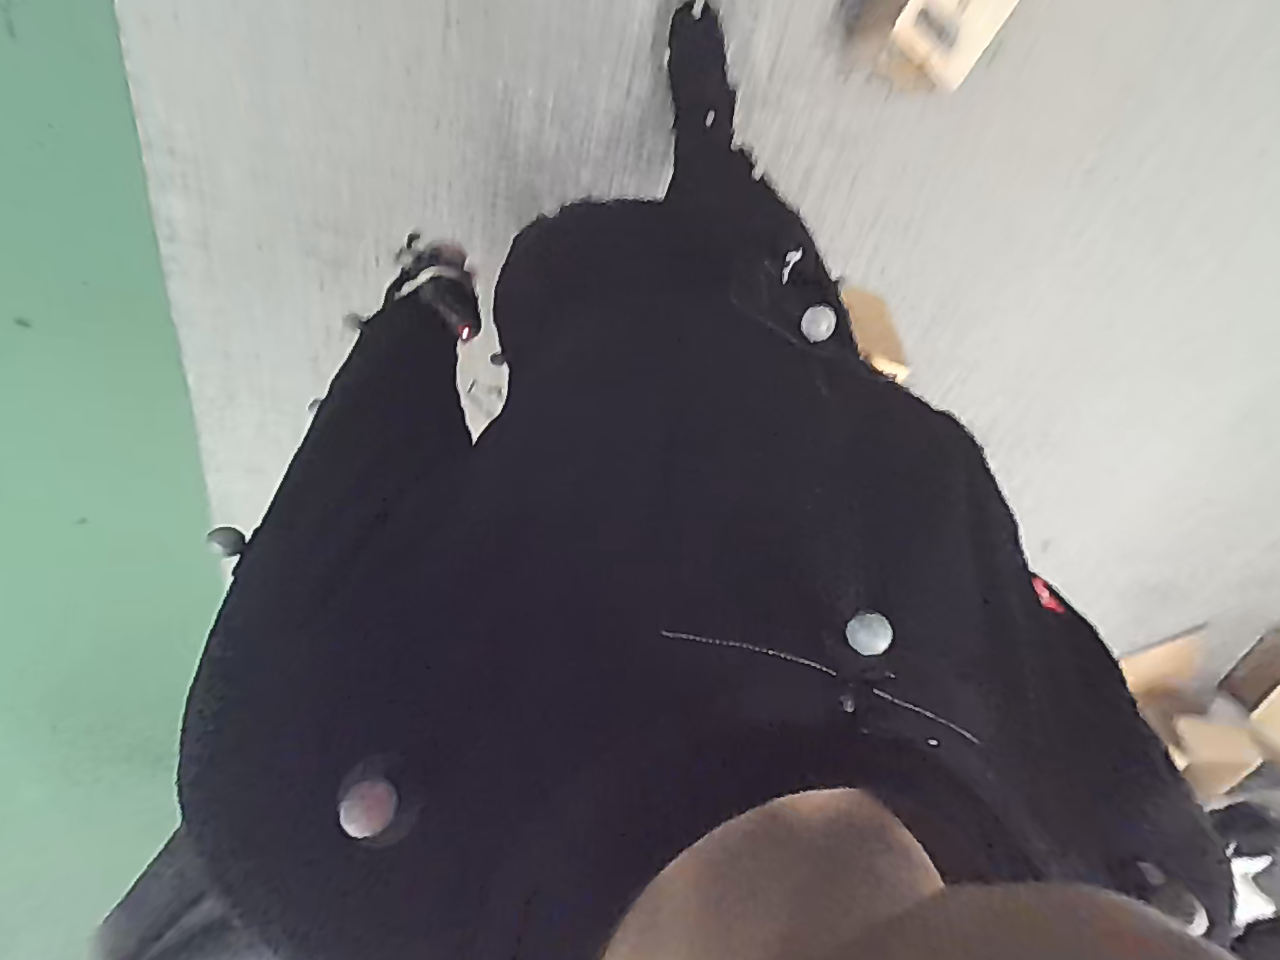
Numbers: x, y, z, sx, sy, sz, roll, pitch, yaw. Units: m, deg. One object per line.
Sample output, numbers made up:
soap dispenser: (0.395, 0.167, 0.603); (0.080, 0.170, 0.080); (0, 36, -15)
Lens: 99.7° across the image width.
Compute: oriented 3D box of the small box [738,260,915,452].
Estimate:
small box: (0.248, -0.172, 0.770); (0.168, 0.179, 0.176); (16, 139, -11)
